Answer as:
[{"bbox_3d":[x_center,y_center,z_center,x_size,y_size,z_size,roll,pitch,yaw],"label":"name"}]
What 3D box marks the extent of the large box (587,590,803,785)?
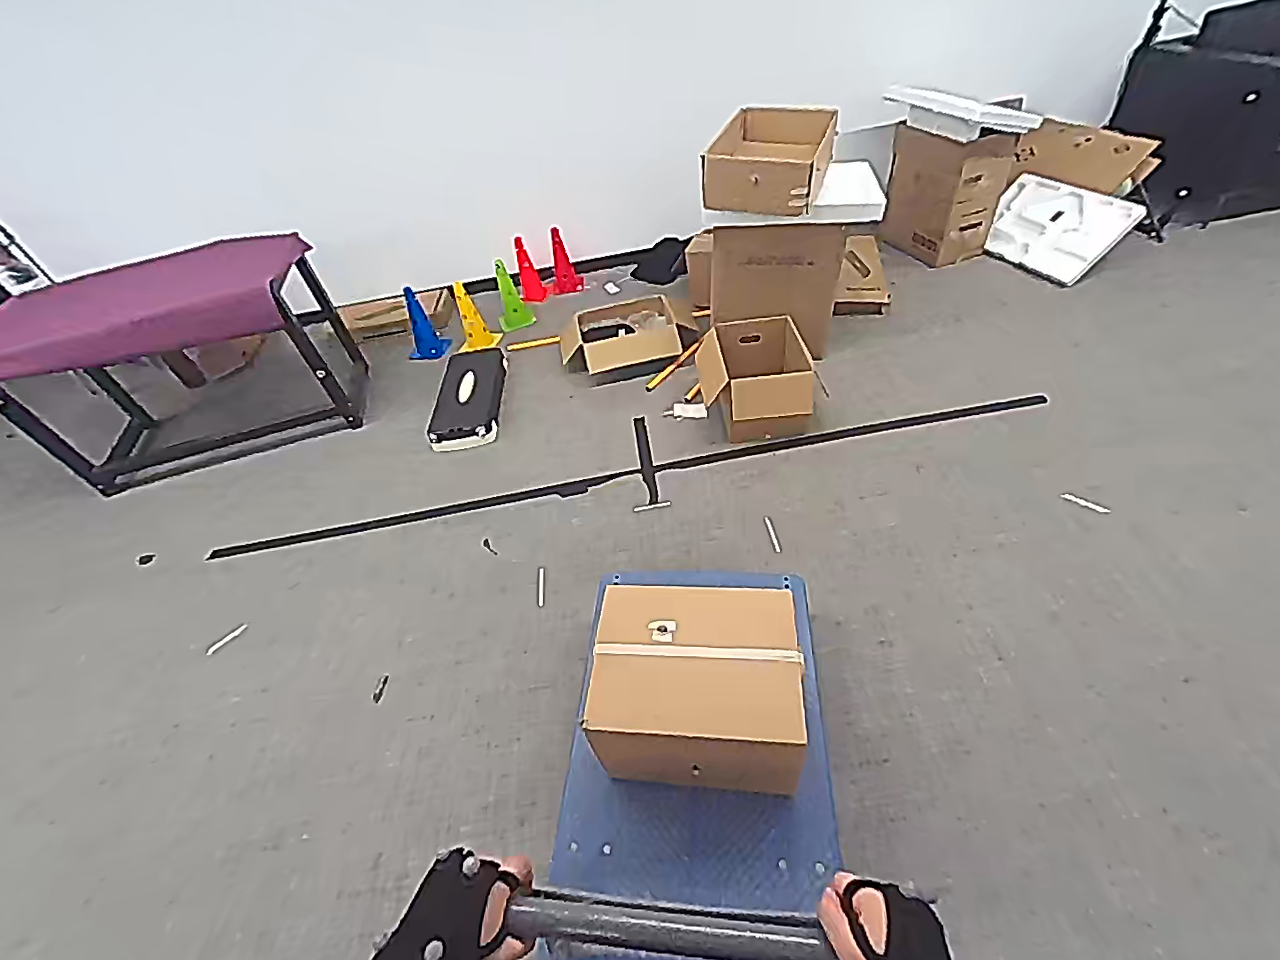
[{"bbox_3d":[0.129,0.457,1.195,0.408,0.320,0.320,-2,45,10],"label":"large box"}]
